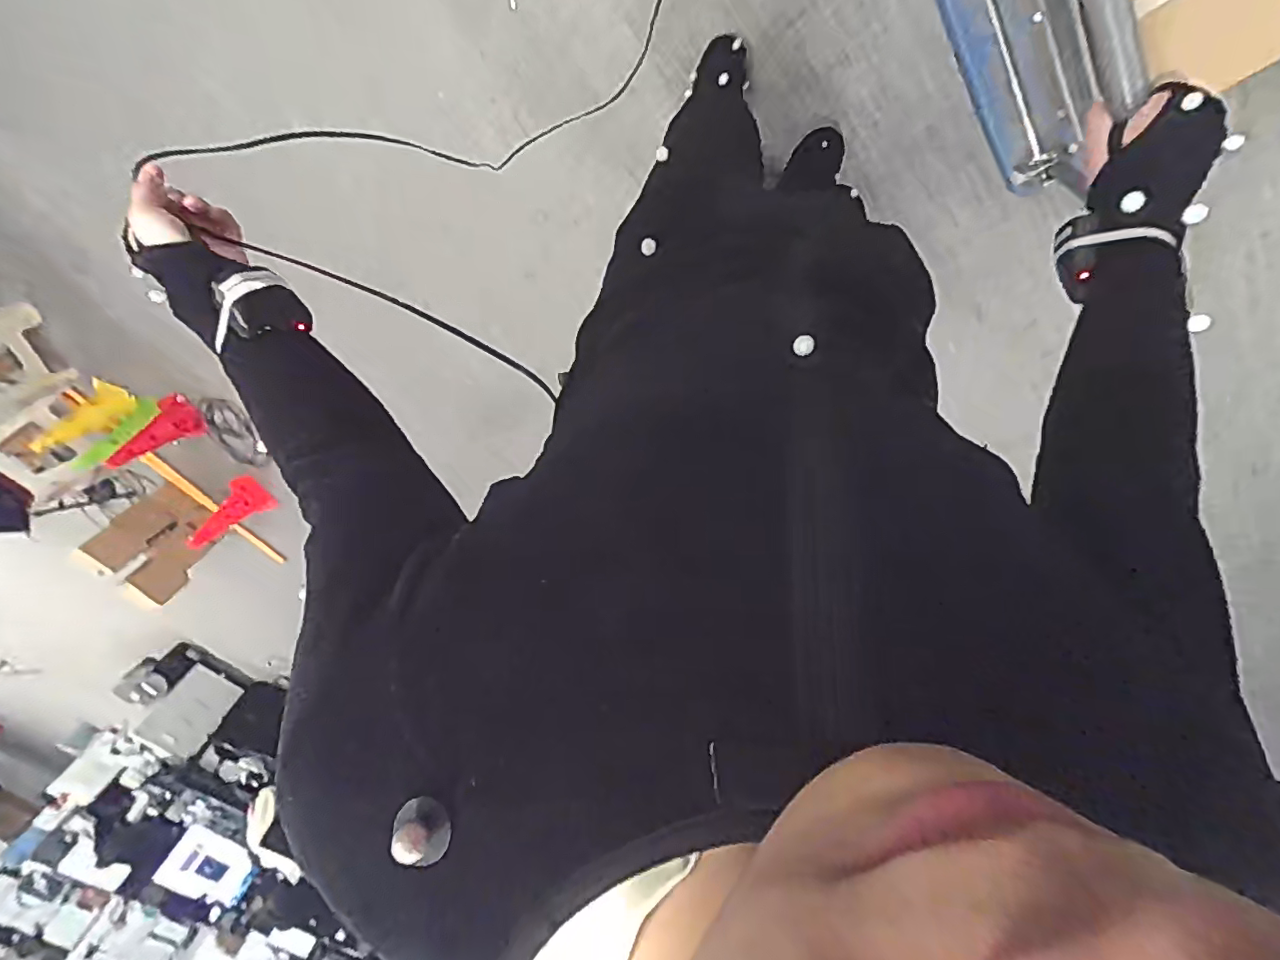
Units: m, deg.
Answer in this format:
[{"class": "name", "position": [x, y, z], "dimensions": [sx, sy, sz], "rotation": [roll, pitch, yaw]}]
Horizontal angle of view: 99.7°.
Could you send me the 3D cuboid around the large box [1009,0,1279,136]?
[{"class": "large box", "position": [0.779, -0.757, 0.723], "dimensions": [0.408, 0.320, 0.320], "rotation": [-26, 118, 32]}]
